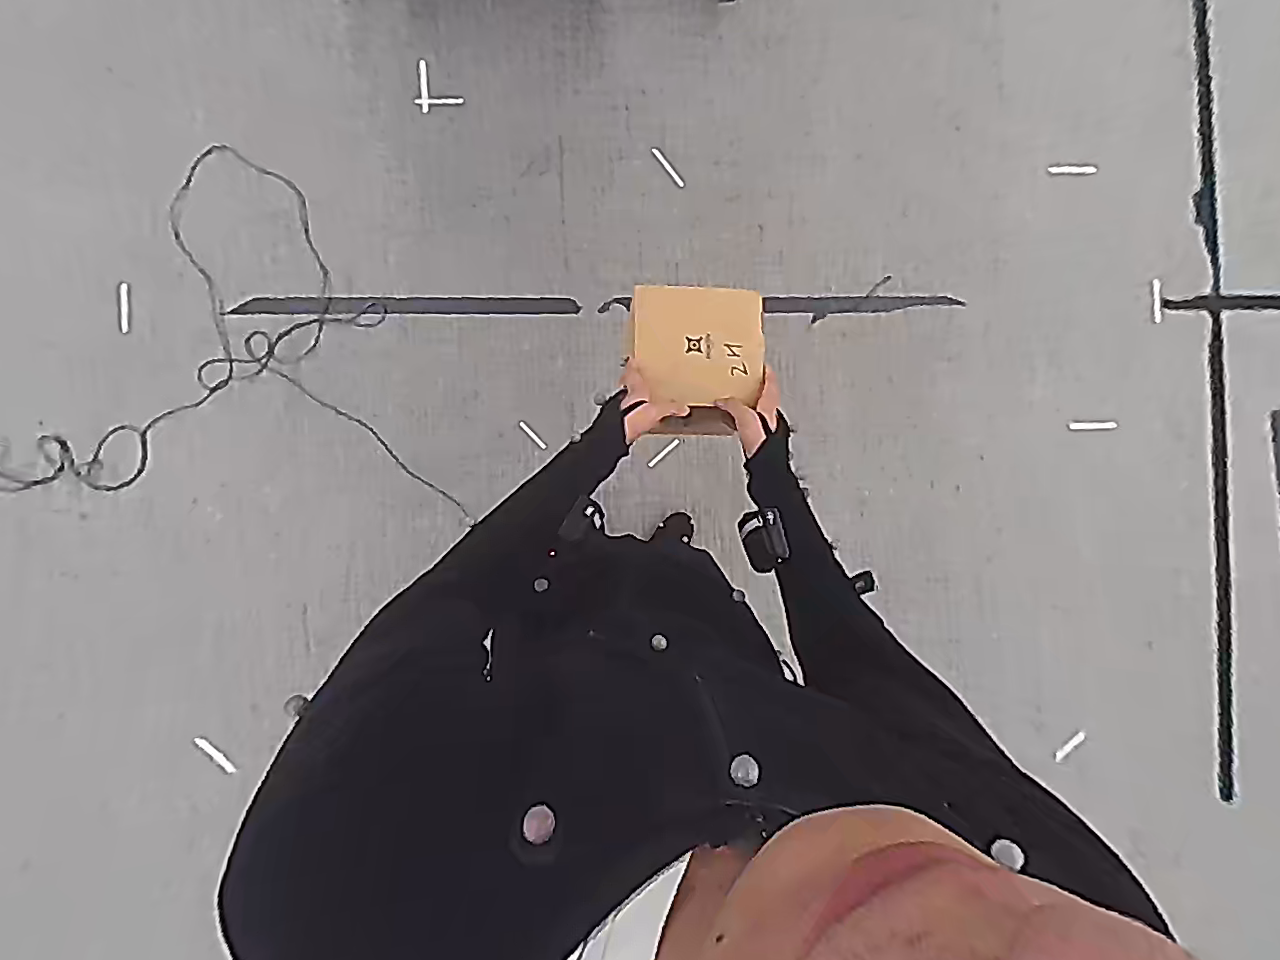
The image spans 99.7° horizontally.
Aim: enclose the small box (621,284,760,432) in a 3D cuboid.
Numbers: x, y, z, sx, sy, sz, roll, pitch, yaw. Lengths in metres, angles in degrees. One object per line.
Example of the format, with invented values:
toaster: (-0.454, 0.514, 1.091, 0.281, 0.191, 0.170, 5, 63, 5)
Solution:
small box: (0.062, -0.166, 0.784, 0.179, 0.176, 0.168, 0, 83, -6)
